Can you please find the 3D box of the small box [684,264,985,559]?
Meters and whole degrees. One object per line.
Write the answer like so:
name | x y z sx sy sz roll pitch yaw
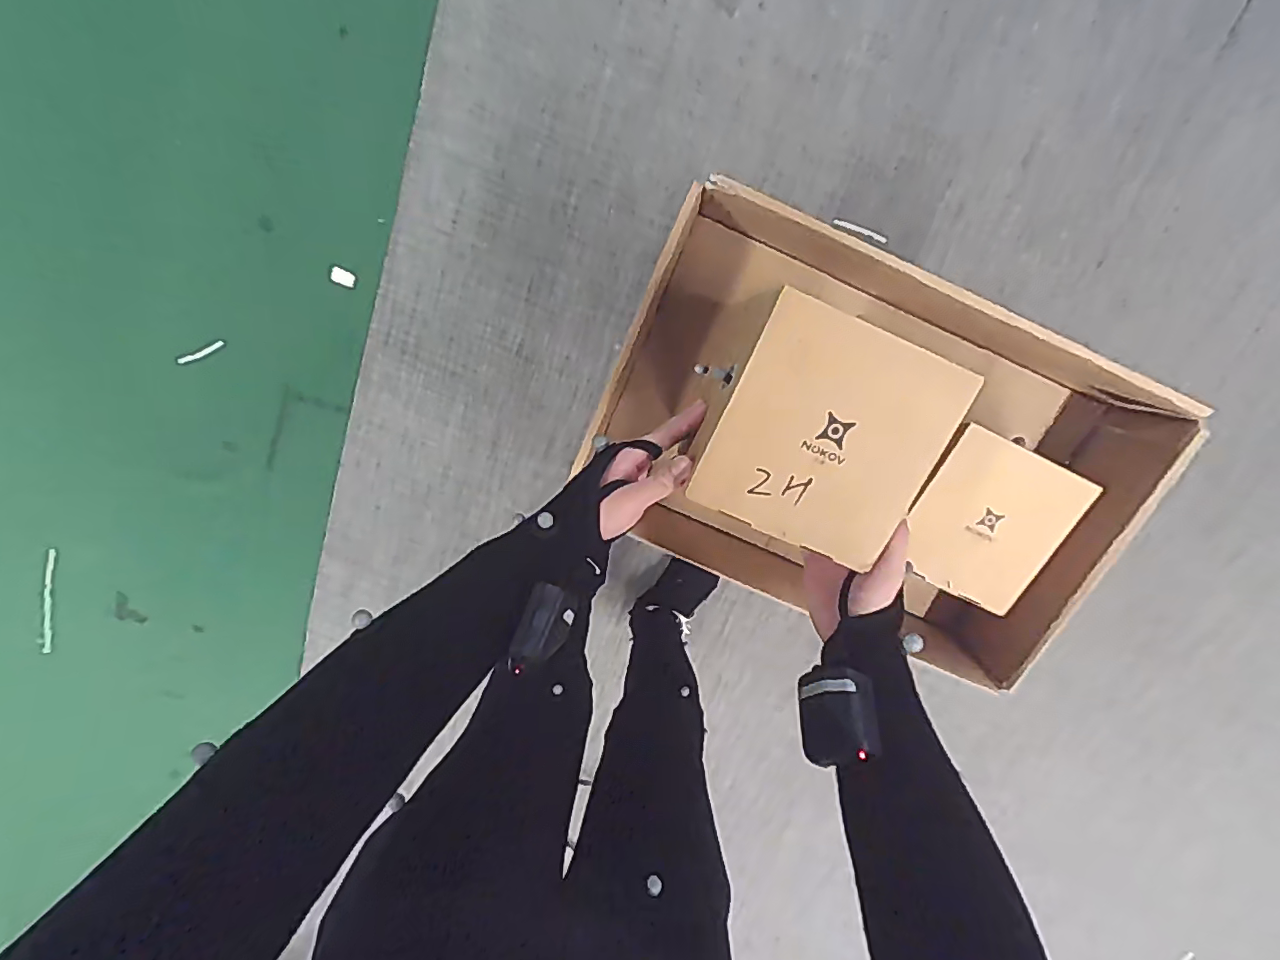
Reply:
small box | 0.143 -0.066 0.478 0.168 0.176 0.179 23 106 -4
